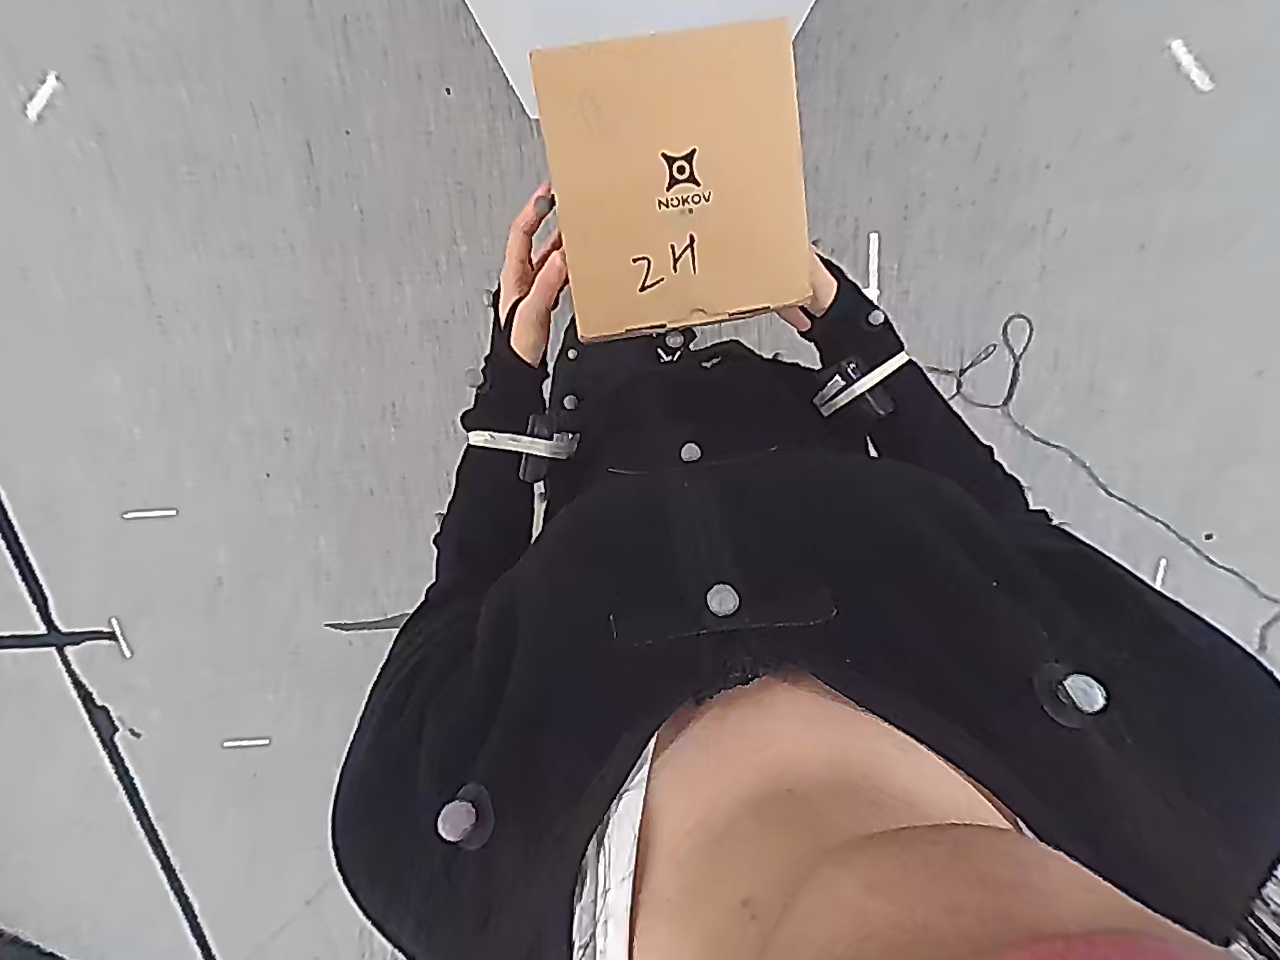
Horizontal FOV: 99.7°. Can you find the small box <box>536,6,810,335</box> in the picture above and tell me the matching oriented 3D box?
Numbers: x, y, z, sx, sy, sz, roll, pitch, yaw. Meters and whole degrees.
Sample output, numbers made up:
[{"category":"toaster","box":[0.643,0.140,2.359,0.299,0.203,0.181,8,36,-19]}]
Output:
[{"category":"small box","box":[0.019,-0.218,0.430,0.168,0.176,0.179,-10,104,-2]}]
